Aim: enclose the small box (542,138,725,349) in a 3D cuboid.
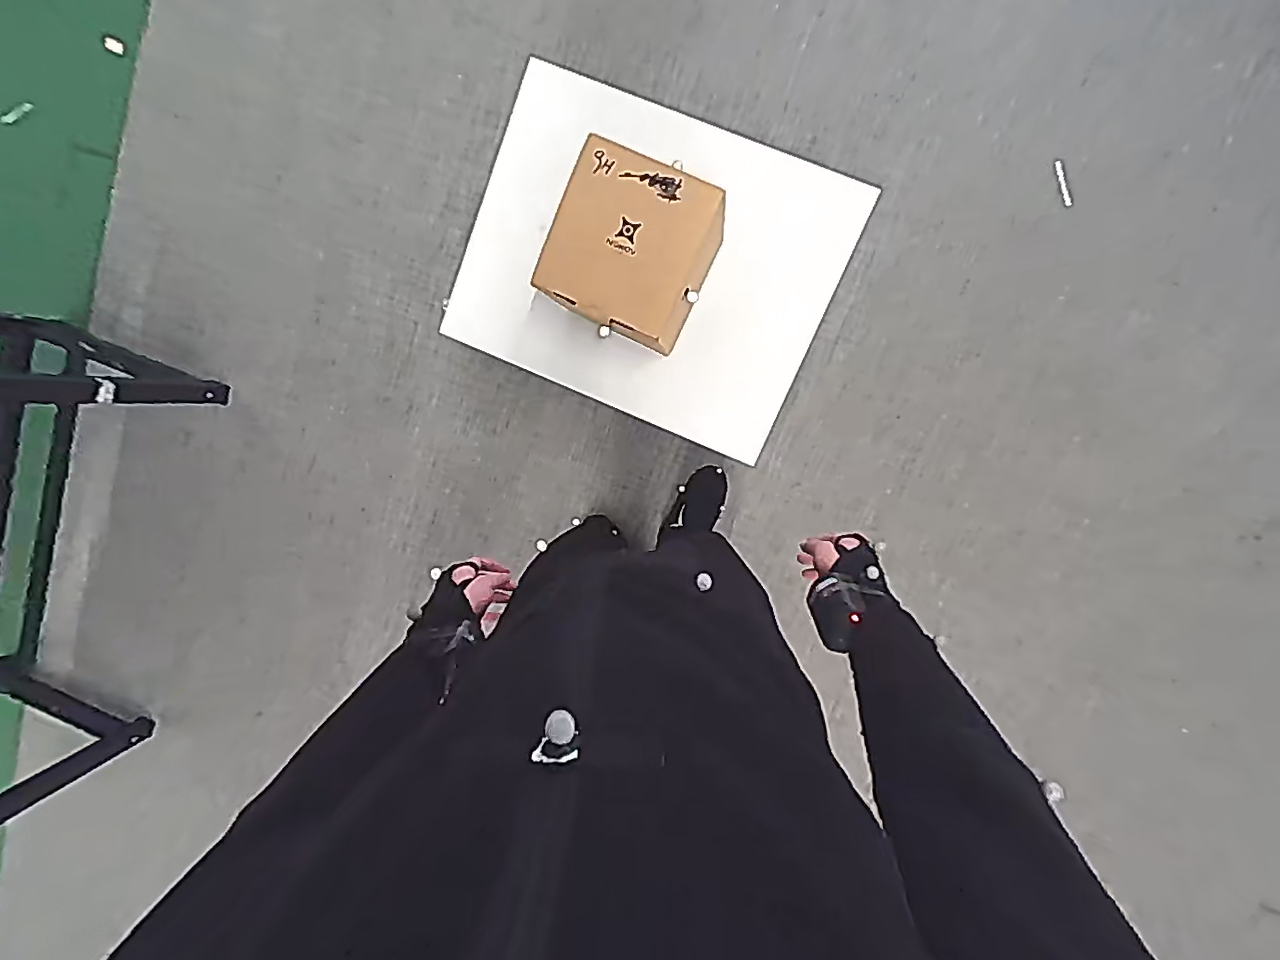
[{"bbox_3d":[0.002,-0.282,0.690,0.168,0.176,0.179,24,99,5],"label":"small box"}]
